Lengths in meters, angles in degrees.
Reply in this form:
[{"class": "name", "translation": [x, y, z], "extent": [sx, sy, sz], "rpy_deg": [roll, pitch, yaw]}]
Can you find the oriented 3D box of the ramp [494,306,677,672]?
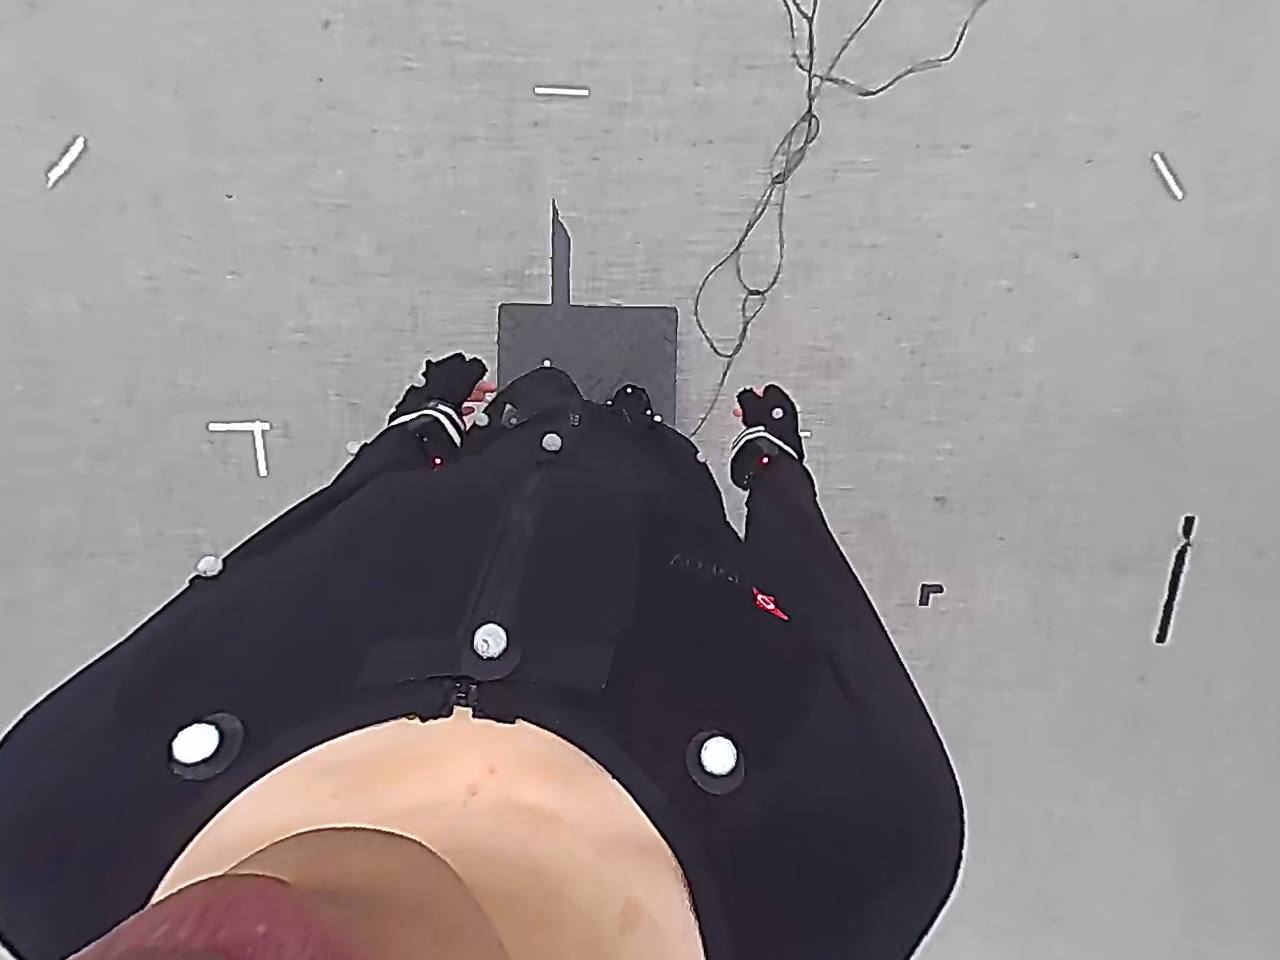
[{"class": "ramp", "translation": [-0.150, 0.022, 1.482], "extent": [0.509, 0.206, 0.991], "rpy_deg": [0, 100, 1]}]
